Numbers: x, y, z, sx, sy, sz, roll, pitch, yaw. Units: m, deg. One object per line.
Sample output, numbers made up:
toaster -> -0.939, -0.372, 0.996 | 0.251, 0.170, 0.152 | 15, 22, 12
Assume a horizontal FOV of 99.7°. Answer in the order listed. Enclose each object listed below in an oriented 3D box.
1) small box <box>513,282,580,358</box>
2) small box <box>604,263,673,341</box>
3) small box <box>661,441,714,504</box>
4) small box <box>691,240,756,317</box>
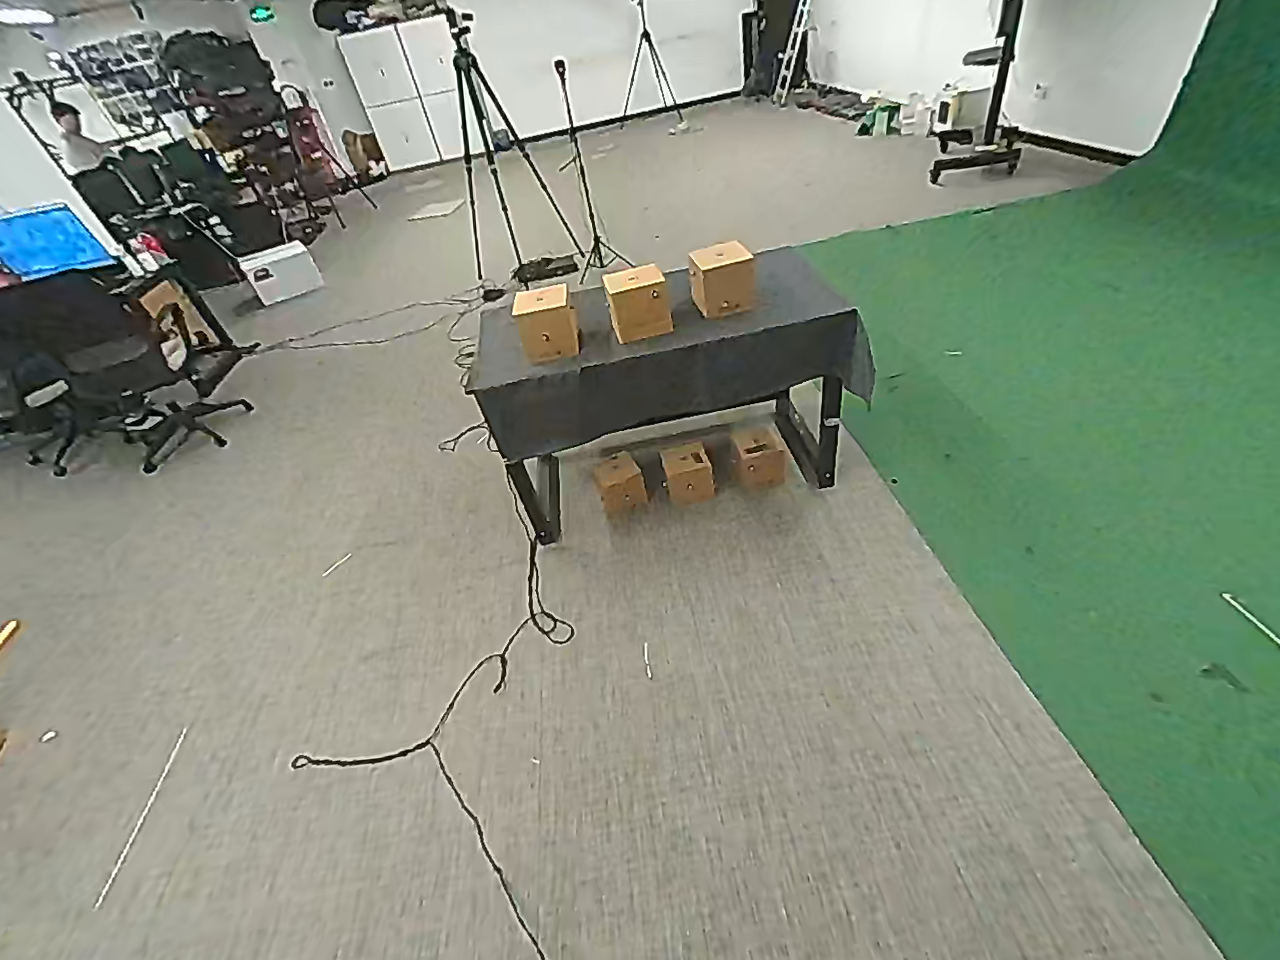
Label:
small box -> -0.286, -0.495, 1.694 | 0.168, 0.176, 0.179 | -10, 41, 2
small box -> -0.004, -0.558, 1.700 | 0.179, 0.176, 0.168 | -14, 41, -3
small box -> 0.193, -0.029, 2.160 | 0.179, 0.176, 0.168 | -14, 41, 0
small box -> 0.265, -0.641, 1.724 | 0.168, 0.176, 0.179 | -14, 41, 0
